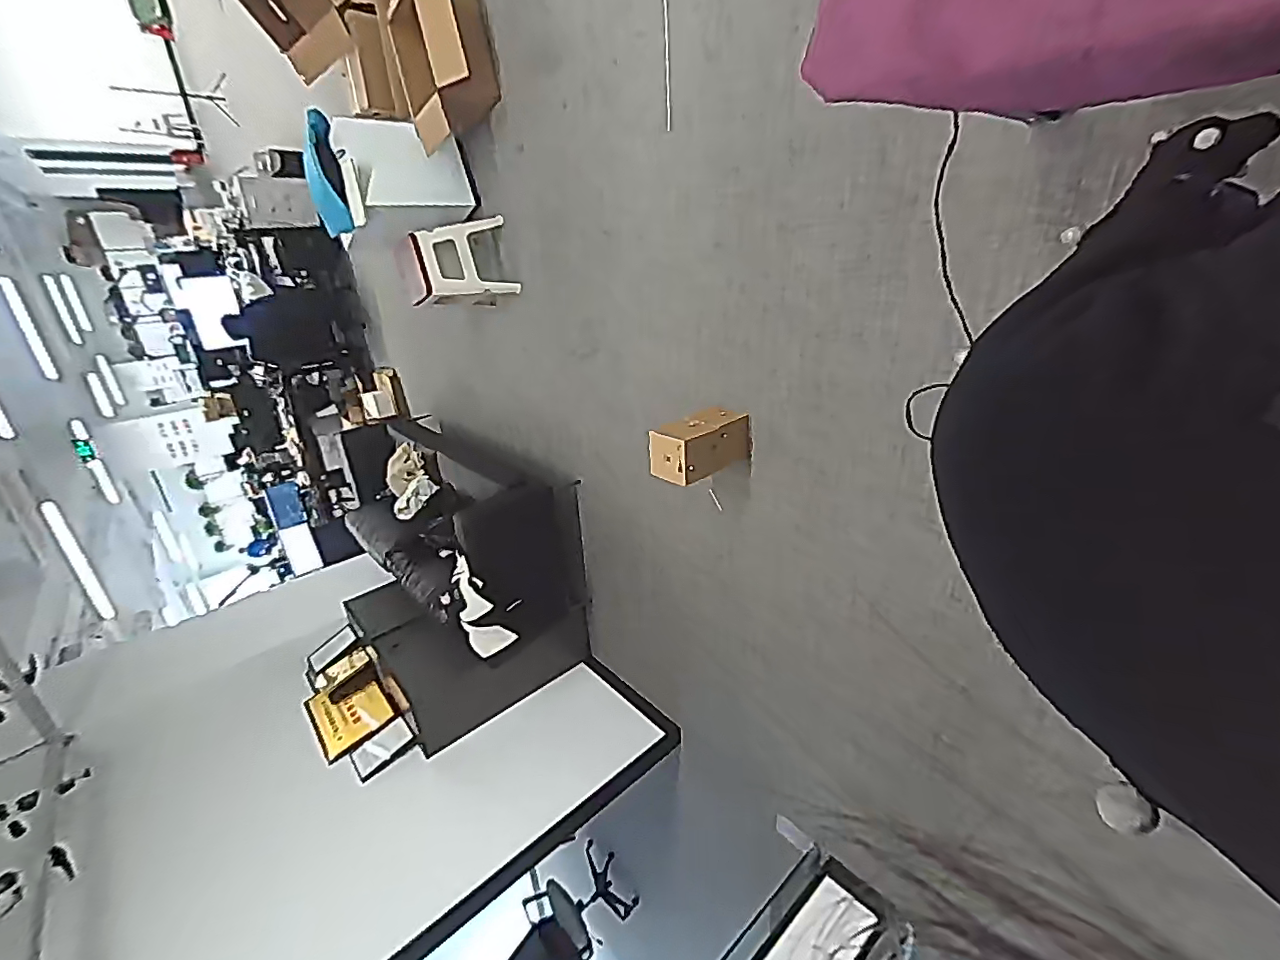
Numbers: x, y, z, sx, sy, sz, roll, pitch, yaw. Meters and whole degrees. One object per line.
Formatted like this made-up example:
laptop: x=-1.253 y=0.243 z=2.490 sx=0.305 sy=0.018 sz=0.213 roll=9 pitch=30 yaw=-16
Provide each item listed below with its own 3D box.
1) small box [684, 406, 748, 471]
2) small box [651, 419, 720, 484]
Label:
small box: x=0.279 y=-0.156 z=1.977 sx=0.168 sy=0.176 sz=0.179 roll=23 pitch=124 yaw=44
small box: x=0.156 y=-0.107 z=1.879 sx=0.179 sy=0.176 sz=0.168 roll=23 pitch=125 yaw=45
